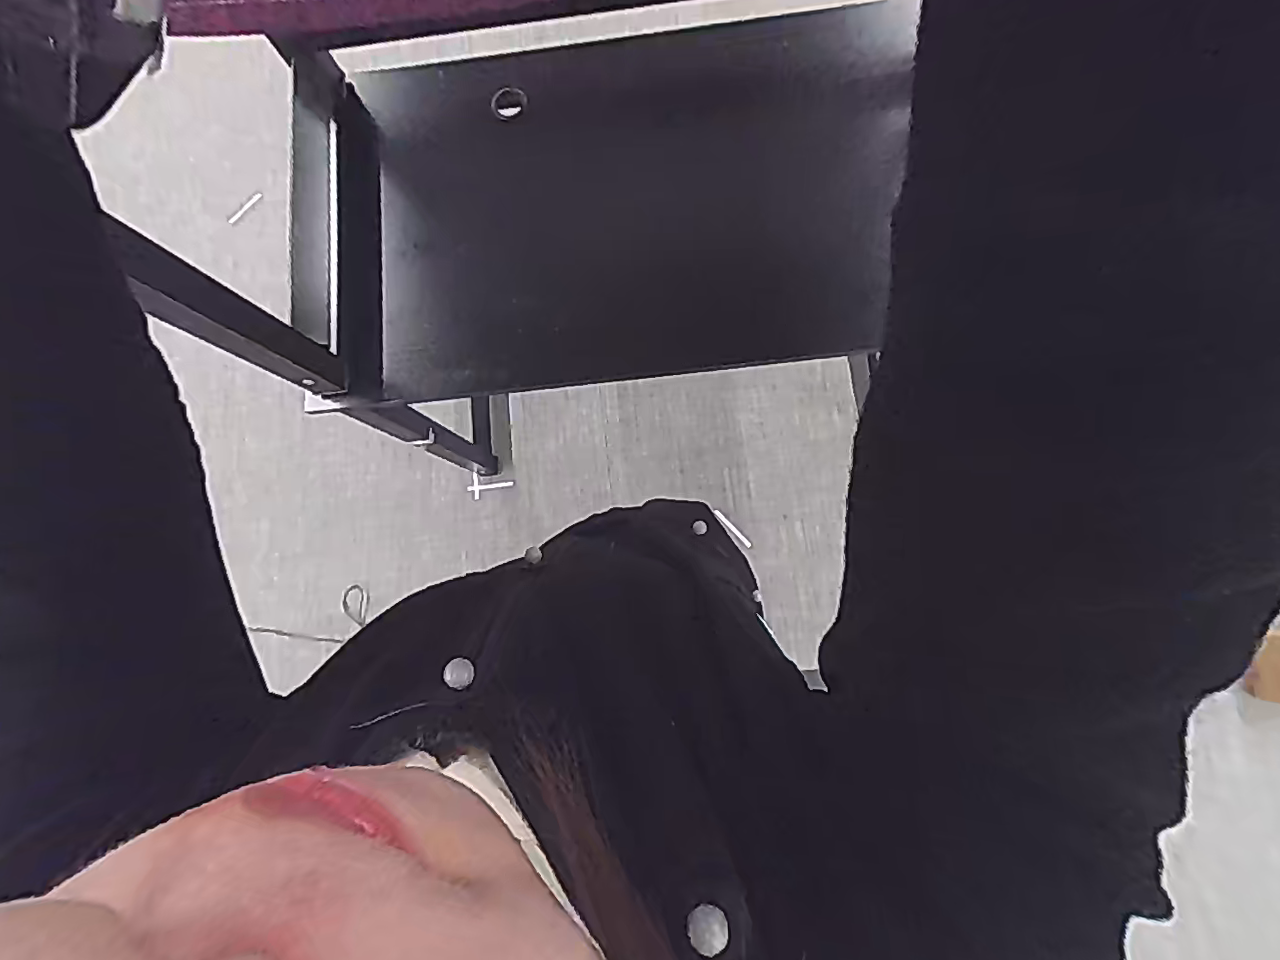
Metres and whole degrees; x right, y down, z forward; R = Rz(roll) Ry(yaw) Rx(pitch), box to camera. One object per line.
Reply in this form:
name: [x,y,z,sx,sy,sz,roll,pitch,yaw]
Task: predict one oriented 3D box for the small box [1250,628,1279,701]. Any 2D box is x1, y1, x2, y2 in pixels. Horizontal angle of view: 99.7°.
small box: [1.601,0.441,1.265,0.179,0.176,0.168,-4,81,3]
